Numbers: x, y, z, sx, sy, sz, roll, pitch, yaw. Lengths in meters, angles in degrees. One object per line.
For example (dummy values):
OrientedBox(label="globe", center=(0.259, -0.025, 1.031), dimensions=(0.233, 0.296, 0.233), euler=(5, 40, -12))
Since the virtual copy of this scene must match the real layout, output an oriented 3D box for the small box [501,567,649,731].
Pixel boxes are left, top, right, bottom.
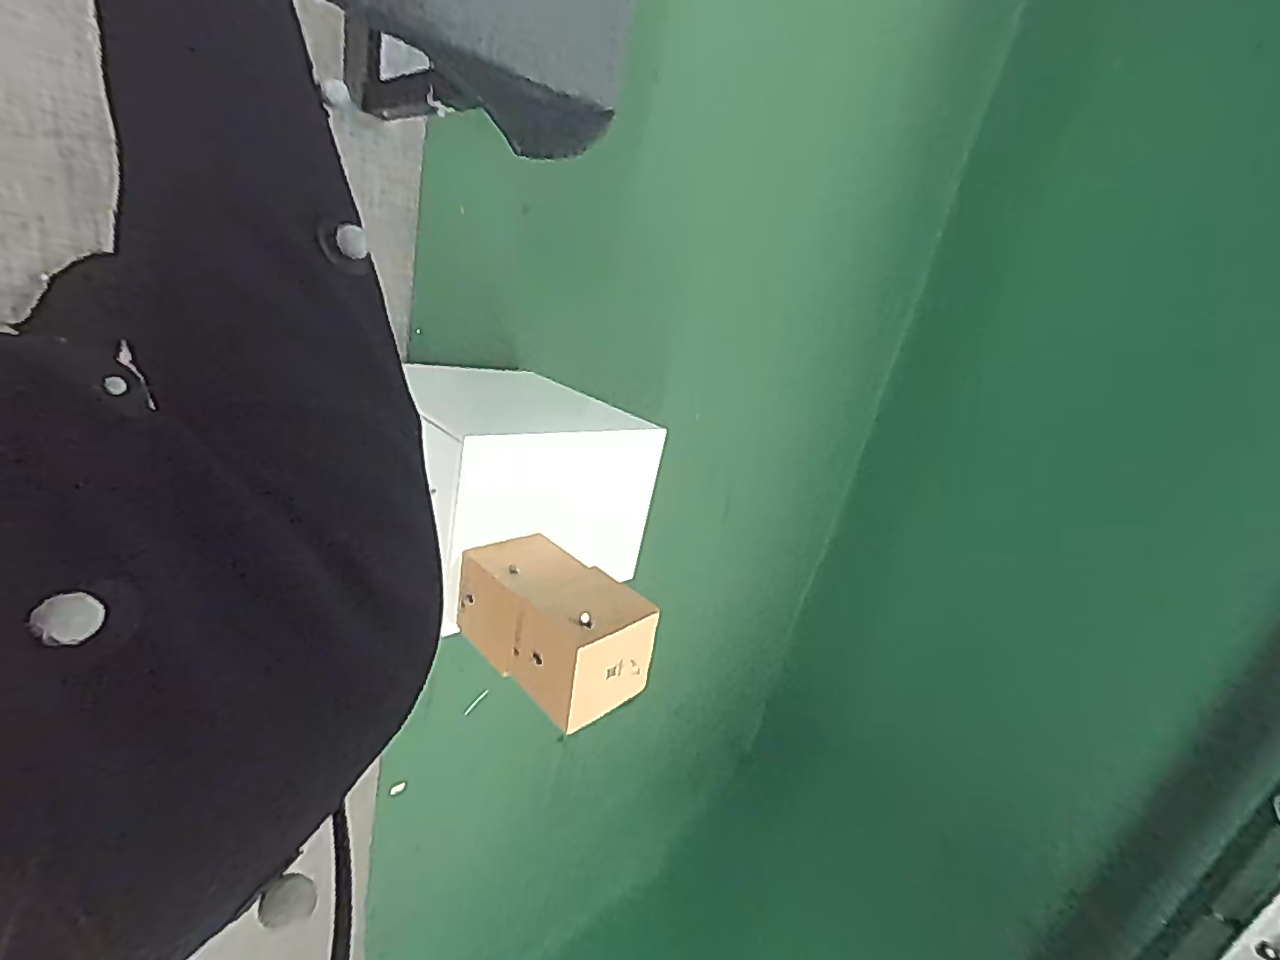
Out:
OrientedBox(label="small box", center=(-0.114, 0.269, 0.903), dimensions=(0.179, 0.176, 0.168), euler=(-13, 121, -45))
